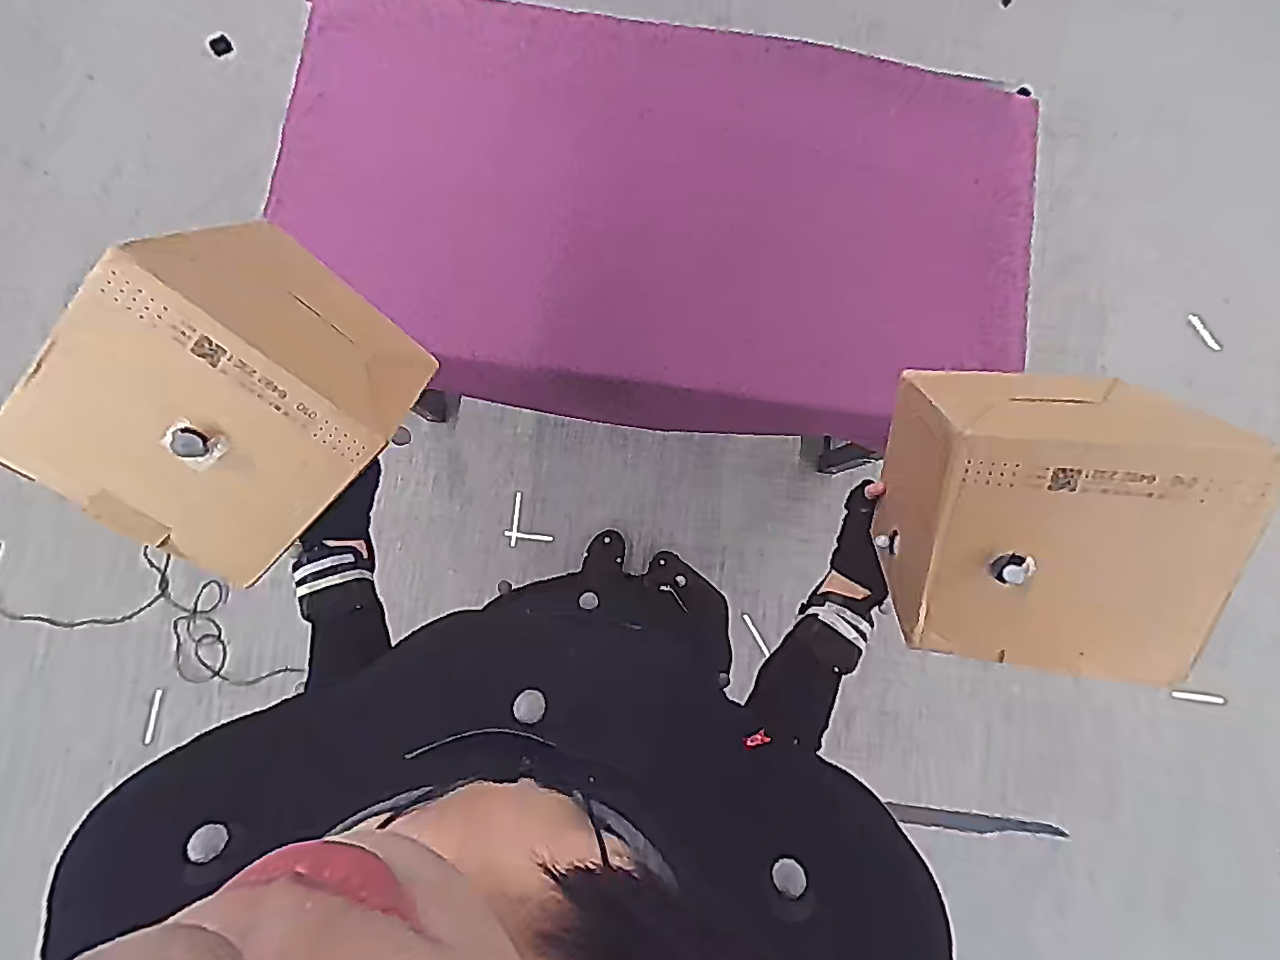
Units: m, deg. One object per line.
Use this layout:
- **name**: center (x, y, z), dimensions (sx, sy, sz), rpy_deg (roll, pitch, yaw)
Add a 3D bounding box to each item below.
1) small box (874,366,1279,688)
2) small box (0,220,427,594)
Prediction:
- **small box**: center (0.284, 0.015, 0.395), dimensions (0.168, 0.179, 0.176), rpy_deg (6, 115, 12)
- **small box**: center (-0.284, -0.061, 0.389), dimensions (0.176, 0.179, 0.168), rpy_deg (-42, 116, 13)
